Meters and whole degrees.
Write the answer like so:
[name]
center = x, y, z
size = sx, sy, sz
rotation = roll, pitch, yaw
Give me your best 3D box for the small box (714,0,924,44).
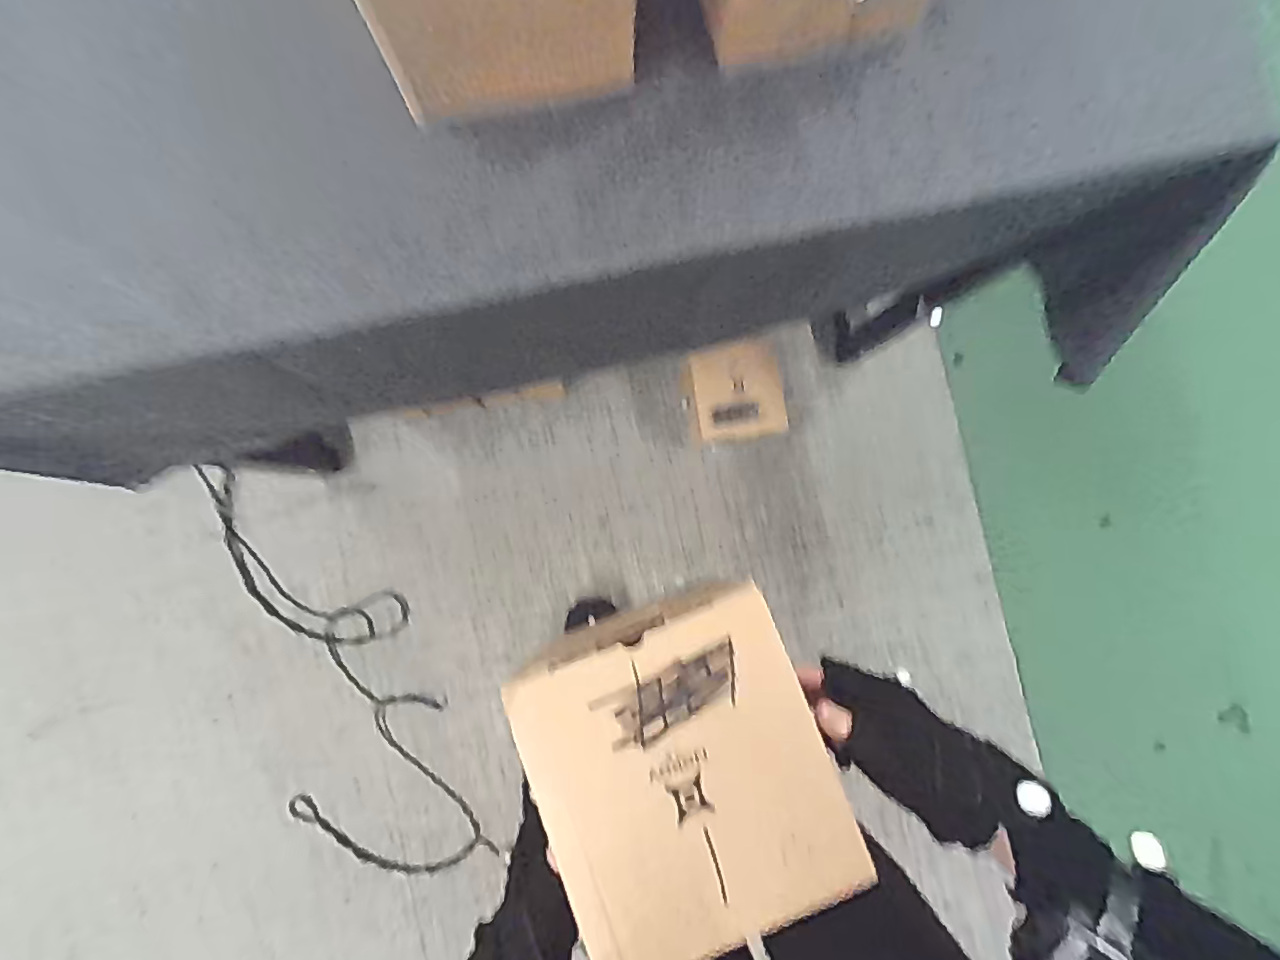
[small box]
center = 0.135, -0.439, 0.362
size = 0.168, 0.176, 0.179
rotation = -14, 88, -5
